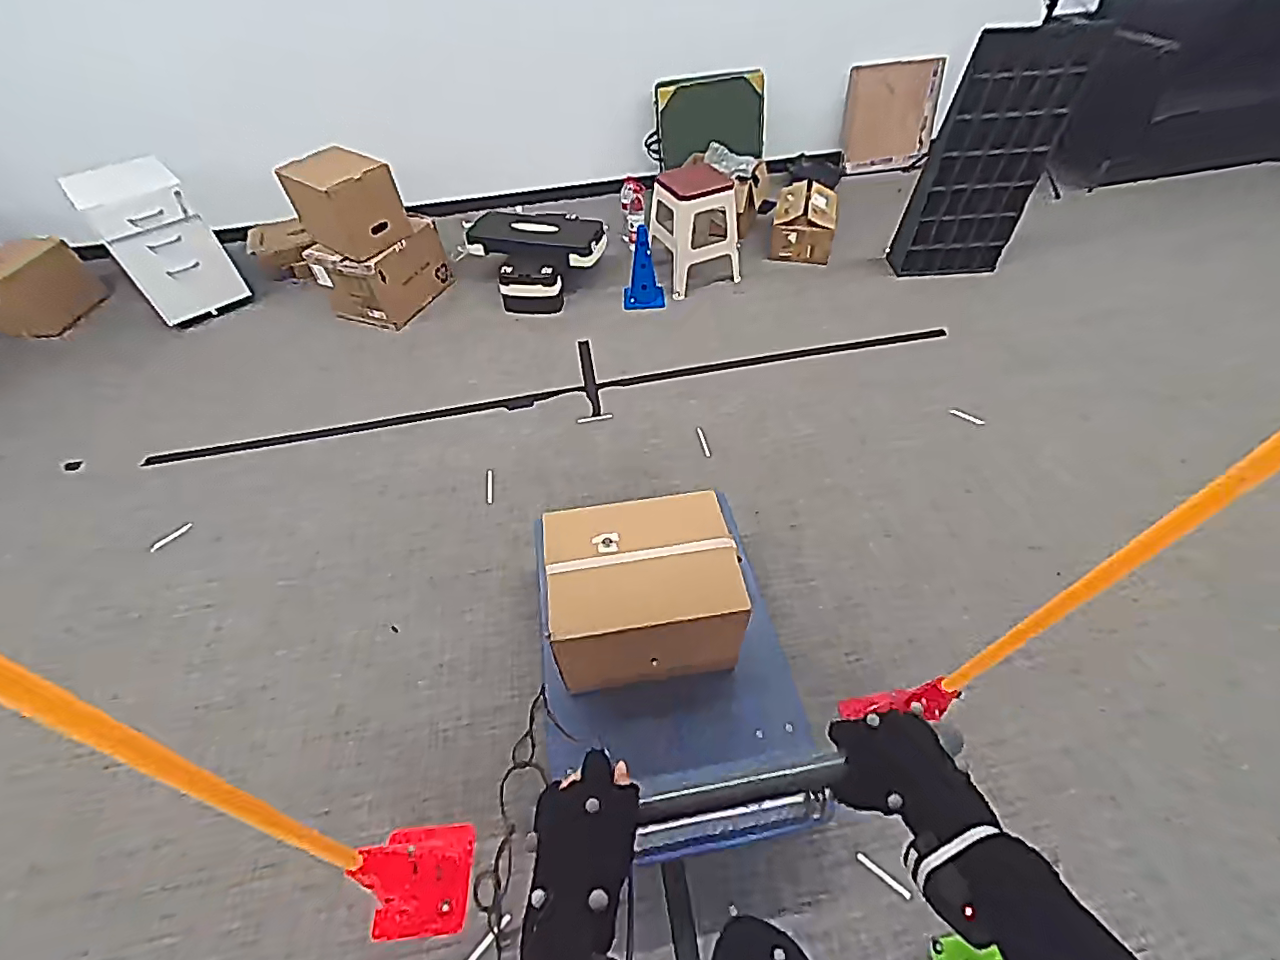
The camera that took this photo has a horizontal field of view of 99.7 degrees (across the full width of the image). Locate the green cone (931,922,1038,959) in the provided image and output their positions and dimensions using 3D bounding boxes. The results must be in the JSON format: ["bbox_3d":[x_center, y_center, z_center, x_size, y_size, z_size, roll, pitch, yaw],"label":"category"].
[{"bbox_3d":[0.684,0.872,0.905,0.202,0.368,0.200,-6,49,-3],"label":"green cone"}]

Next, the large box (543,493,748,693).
[{"bbox_3d":[0.005,0.269,1.269,0.408,0.320,0.320,-8,50,-4],"label":"large box"}]

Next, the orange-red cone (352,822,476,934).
[{"bbox_3d":[-0.478,0.764,1.070,0.198,0.360,0.199,-3,48,0],"label":"orange-red cone"}]
